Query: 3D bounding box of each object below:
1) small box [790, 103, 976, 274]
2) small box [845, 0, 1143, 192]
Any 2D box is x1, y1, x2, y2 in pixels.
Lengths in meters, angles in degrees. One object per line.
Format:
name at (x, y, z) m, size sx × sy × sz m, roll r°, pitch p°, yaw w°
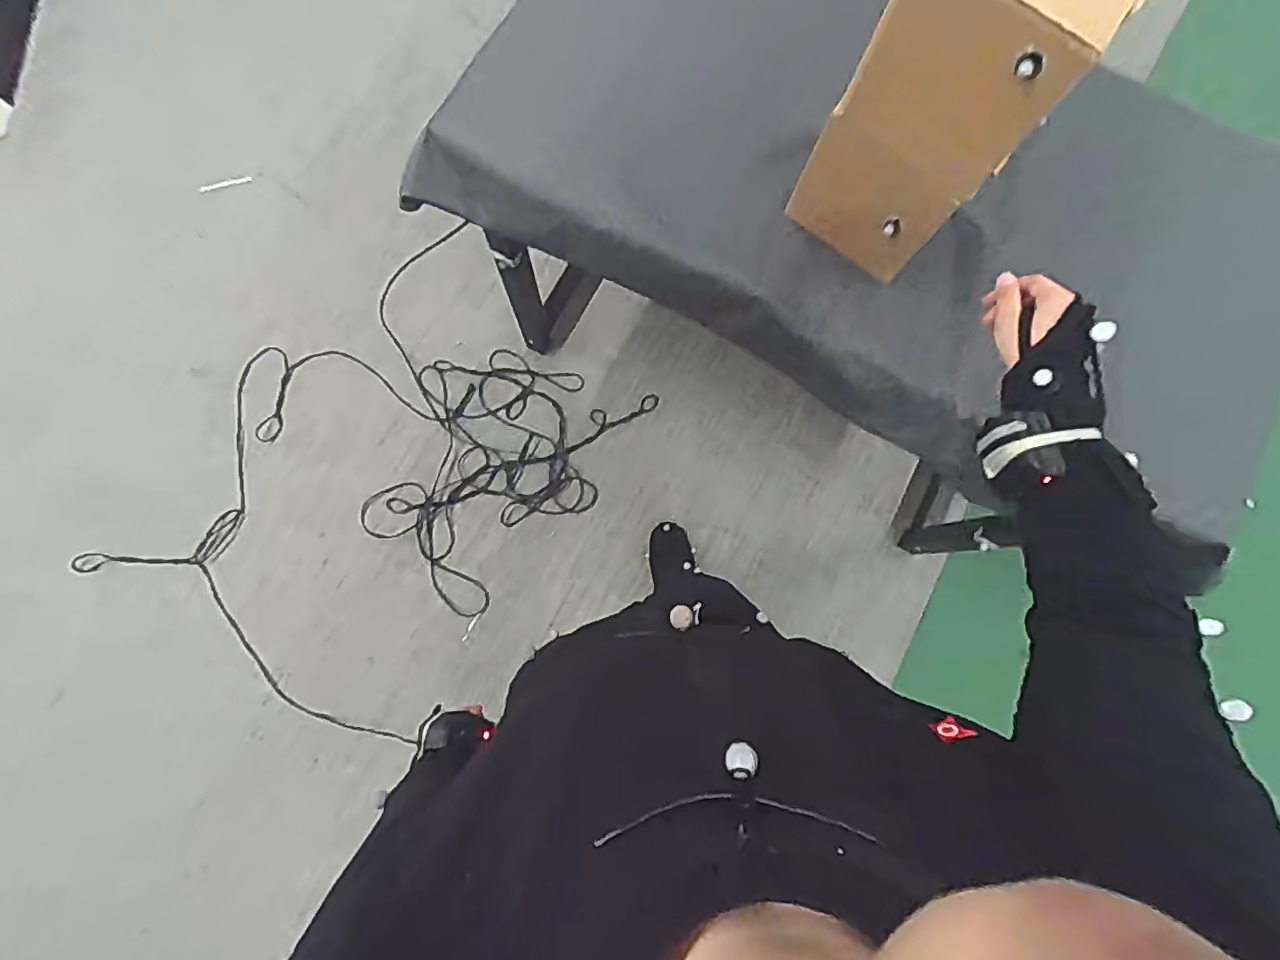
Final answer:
small box at (0.323, -0.393, 0.680) m, size 0.179 × 0.176 × 0.168 m, roll 36°, pitch 79°, yaw 5°
small box at (0.335, -0.427, 0.522) m, size 0.179 × 0.176 × 0.168 m, roll 37°, pitch 79°, yaw 3°
